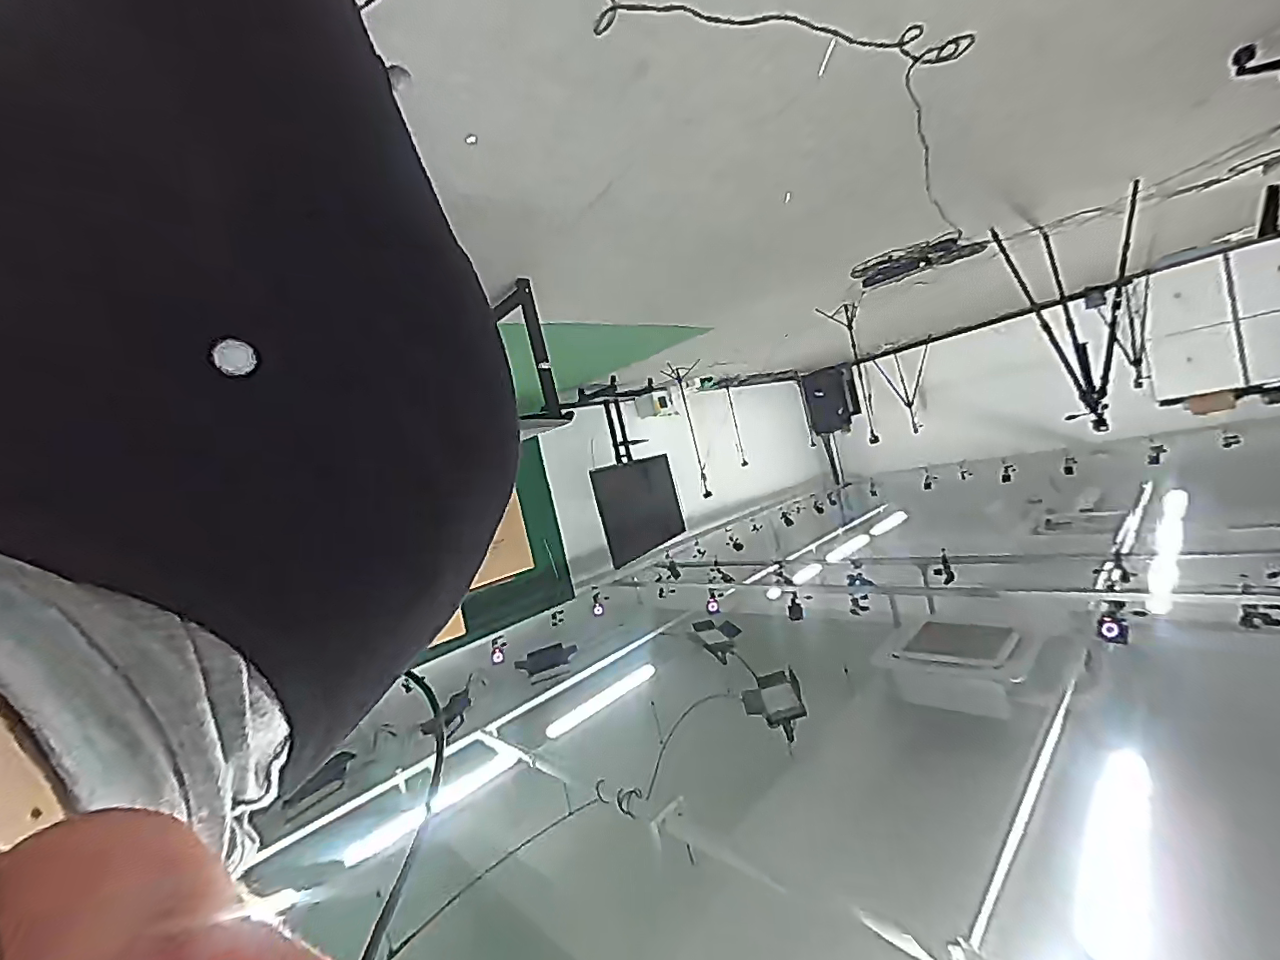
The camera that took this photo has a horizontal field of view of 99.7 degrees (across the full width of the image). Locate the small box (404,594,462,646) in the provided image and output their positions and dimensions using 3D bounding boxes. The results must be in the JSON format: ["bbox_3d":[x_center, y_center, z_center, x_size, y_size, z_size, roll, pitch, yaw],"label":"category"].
[{"bbox_3d":[-0.875,0.582,2.275,0.168,0.176,0.179,-14,-179,-40],"label":"small box"}]
